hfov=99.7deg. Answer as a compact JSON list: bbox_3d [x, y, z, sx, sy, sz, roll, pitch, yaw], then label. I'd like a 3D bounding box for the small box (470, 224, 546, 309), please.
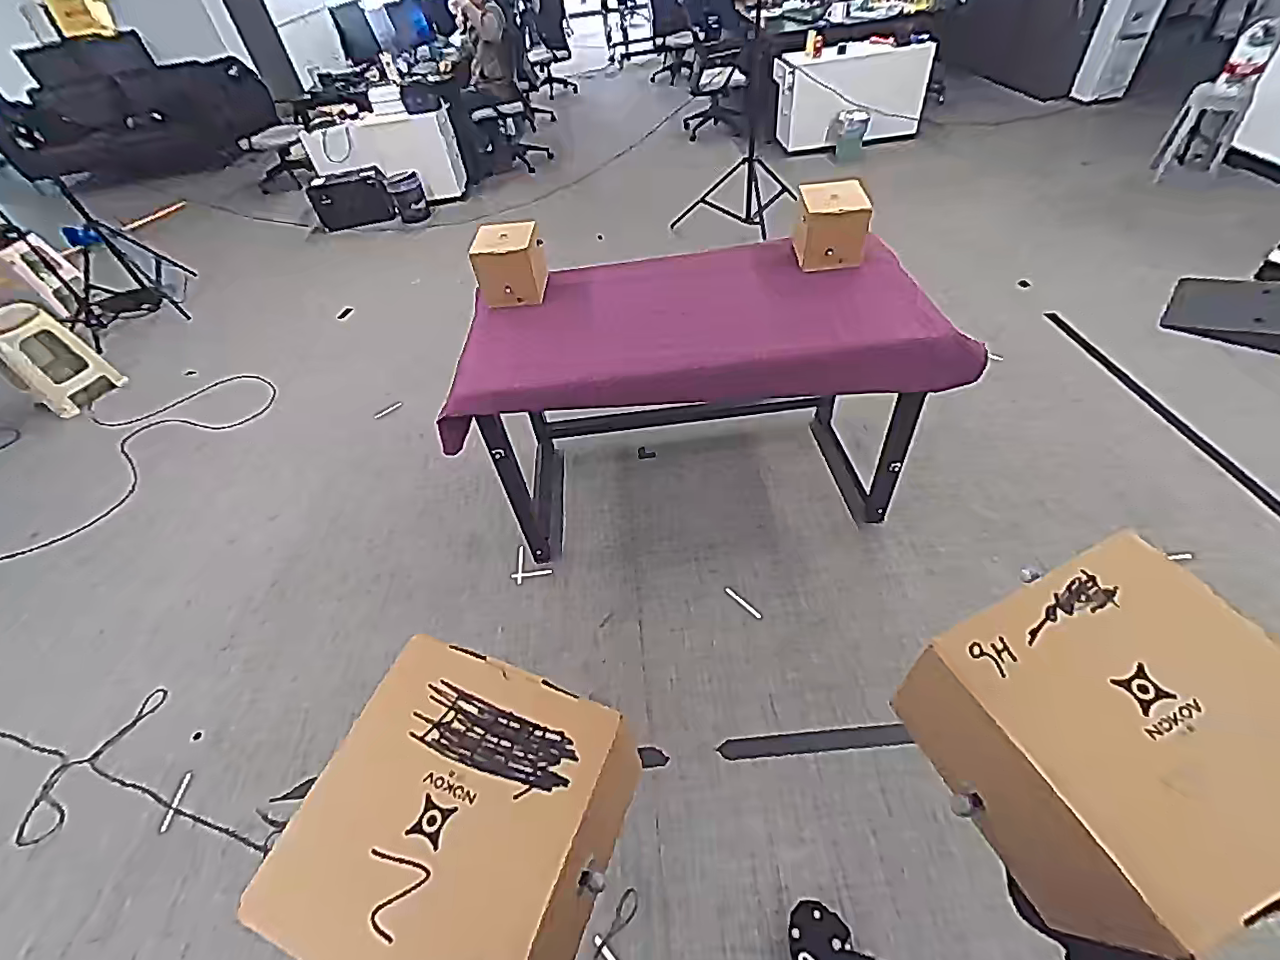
[{"bbox_3d":[-0.376,-0.621,1.576,0.168,0.176,0.179,-4,49,4],"label":"small box"}]

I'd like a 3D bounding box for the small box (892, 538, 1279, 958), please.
[{"bbox_3d":[0.312,0.178,0.380,0.168,0.176,0.179,-26,54,-6],"label":"small box"}]

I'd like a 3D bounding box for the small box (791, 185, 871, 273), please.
[{"bbox_3d":[0.535,-0.714,1.543,0.168,0.176,0.179,-3,51,5],"label":"small box"}]
